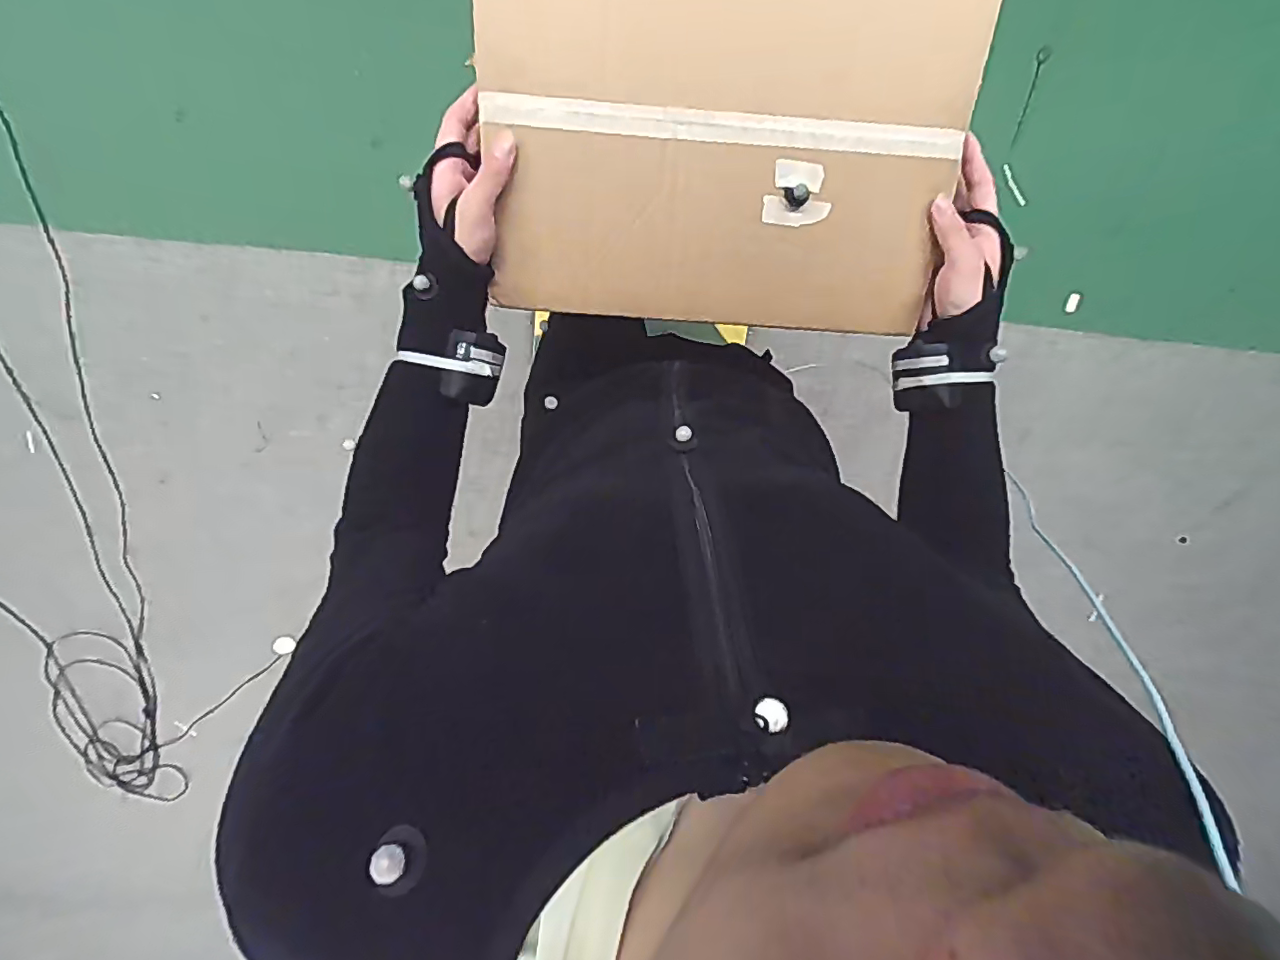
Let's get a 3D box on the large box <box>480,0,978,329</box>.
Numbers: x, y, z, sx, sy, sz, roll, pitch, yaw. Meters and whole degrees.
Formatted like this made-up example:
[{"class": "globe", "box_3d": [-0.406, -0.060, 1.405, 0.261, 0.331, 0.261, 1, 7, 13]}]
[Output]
[{"class": "large box", "box_3d": [0.063, -0.352, 0.601, 0.408, 0.320, 0.320, 3, 113, -3]}]
